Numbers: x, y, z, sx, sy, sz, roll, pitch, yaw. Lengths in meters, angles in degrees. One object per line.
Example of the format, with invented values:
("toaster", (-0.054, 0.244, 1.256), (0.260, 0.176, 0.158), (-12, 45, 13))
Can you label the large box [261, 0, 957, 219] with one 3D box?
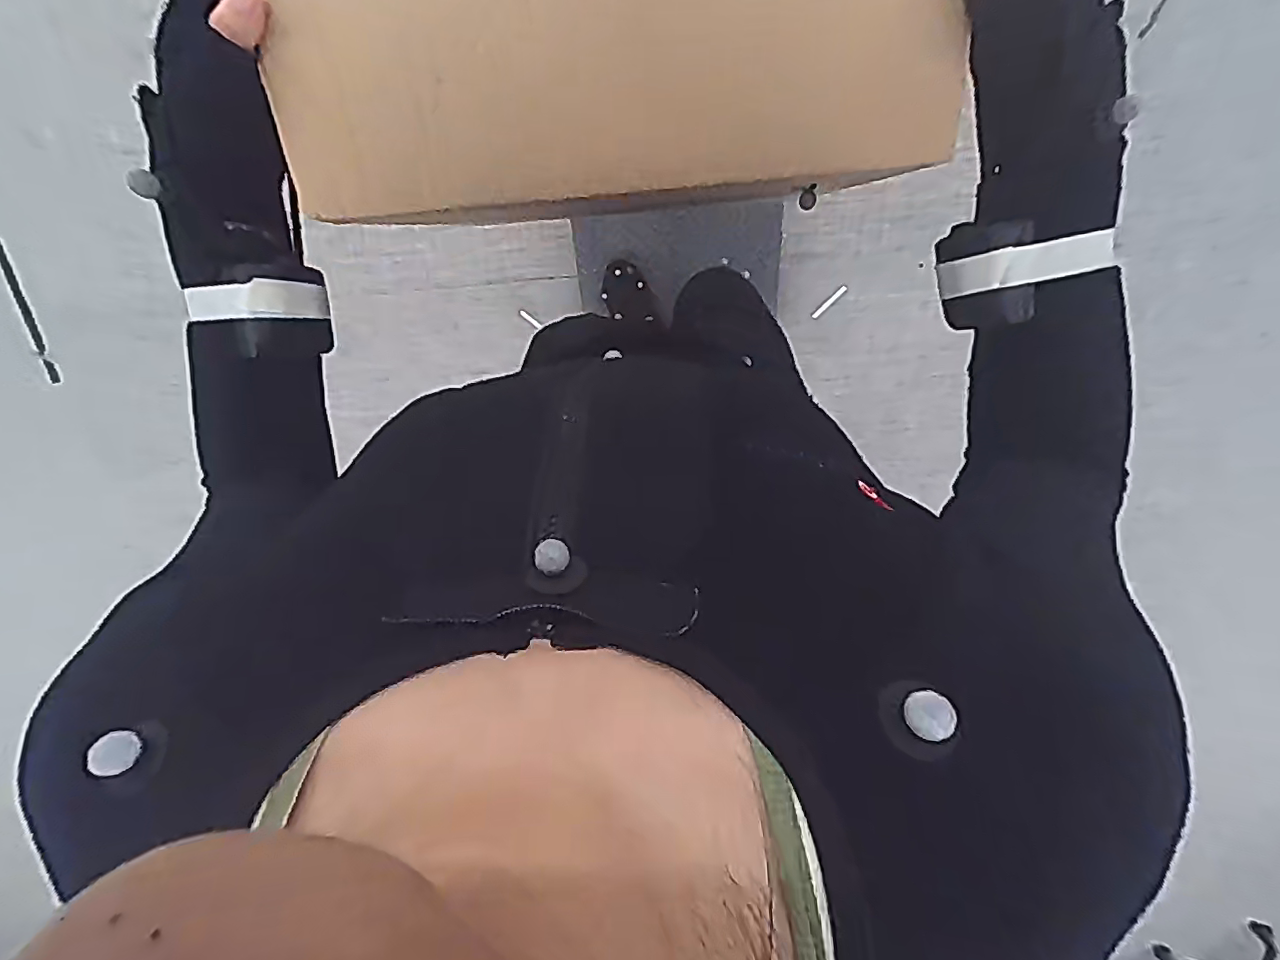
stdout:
("large box", (-0.018, -0.391, 0.419), (0.408, 0.320, 0.320), (-3, 114, 5))
